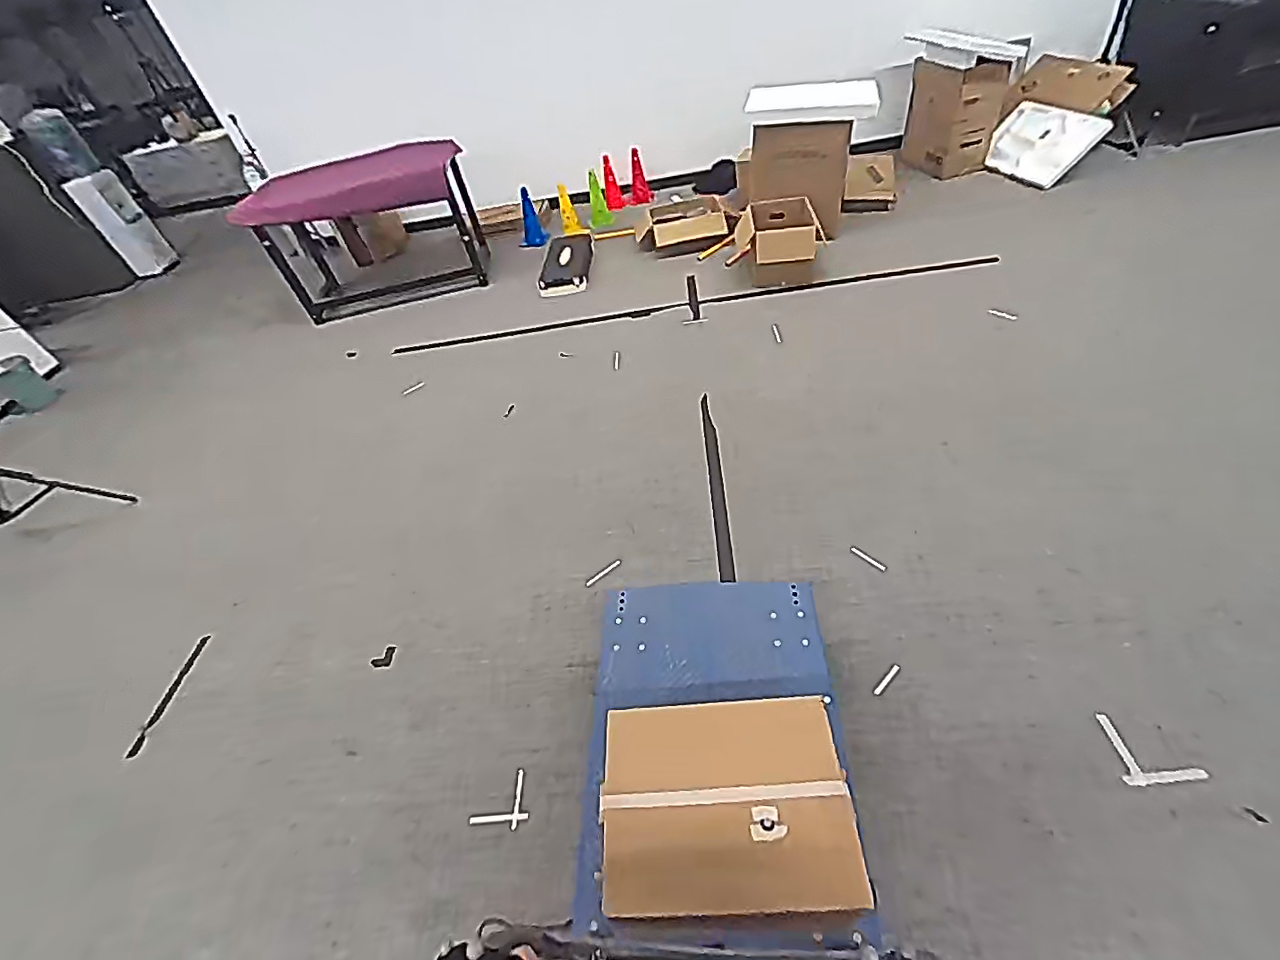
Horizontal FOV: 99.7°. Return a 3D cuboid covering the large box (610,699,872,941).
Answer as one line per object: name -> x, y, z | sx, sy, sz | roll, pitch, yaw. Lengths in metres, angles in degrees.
large box -> 0.163, 0.643, 1.019 | 0.408, 0.320, 0.320 | -6, 46, 5
